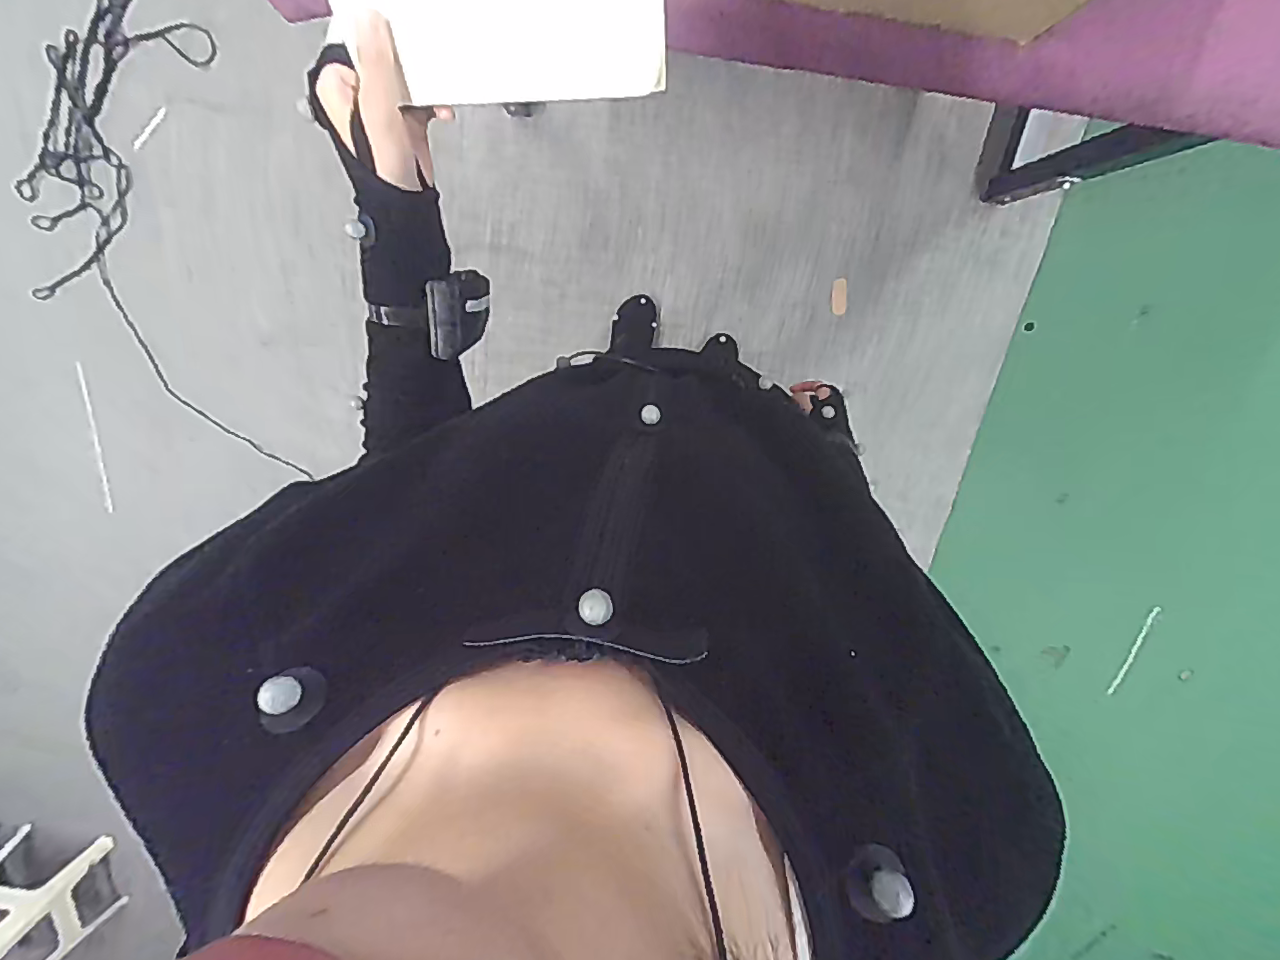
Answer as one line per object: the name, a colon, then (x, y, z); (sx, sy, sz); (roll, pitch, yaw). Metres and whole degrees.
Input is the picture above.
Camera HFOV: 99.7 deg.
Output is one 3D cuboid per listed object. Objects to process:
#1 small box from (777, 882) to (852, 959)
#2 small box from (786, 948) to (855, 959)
small box: (0.472, 1.241, 1.480); (0.168, 0.176, 0.179); (-4, 107, 6)
small box: (0.457, 1.293, 1.326); (0.179, 0.176, 0.168); (-5, 107, 6)
